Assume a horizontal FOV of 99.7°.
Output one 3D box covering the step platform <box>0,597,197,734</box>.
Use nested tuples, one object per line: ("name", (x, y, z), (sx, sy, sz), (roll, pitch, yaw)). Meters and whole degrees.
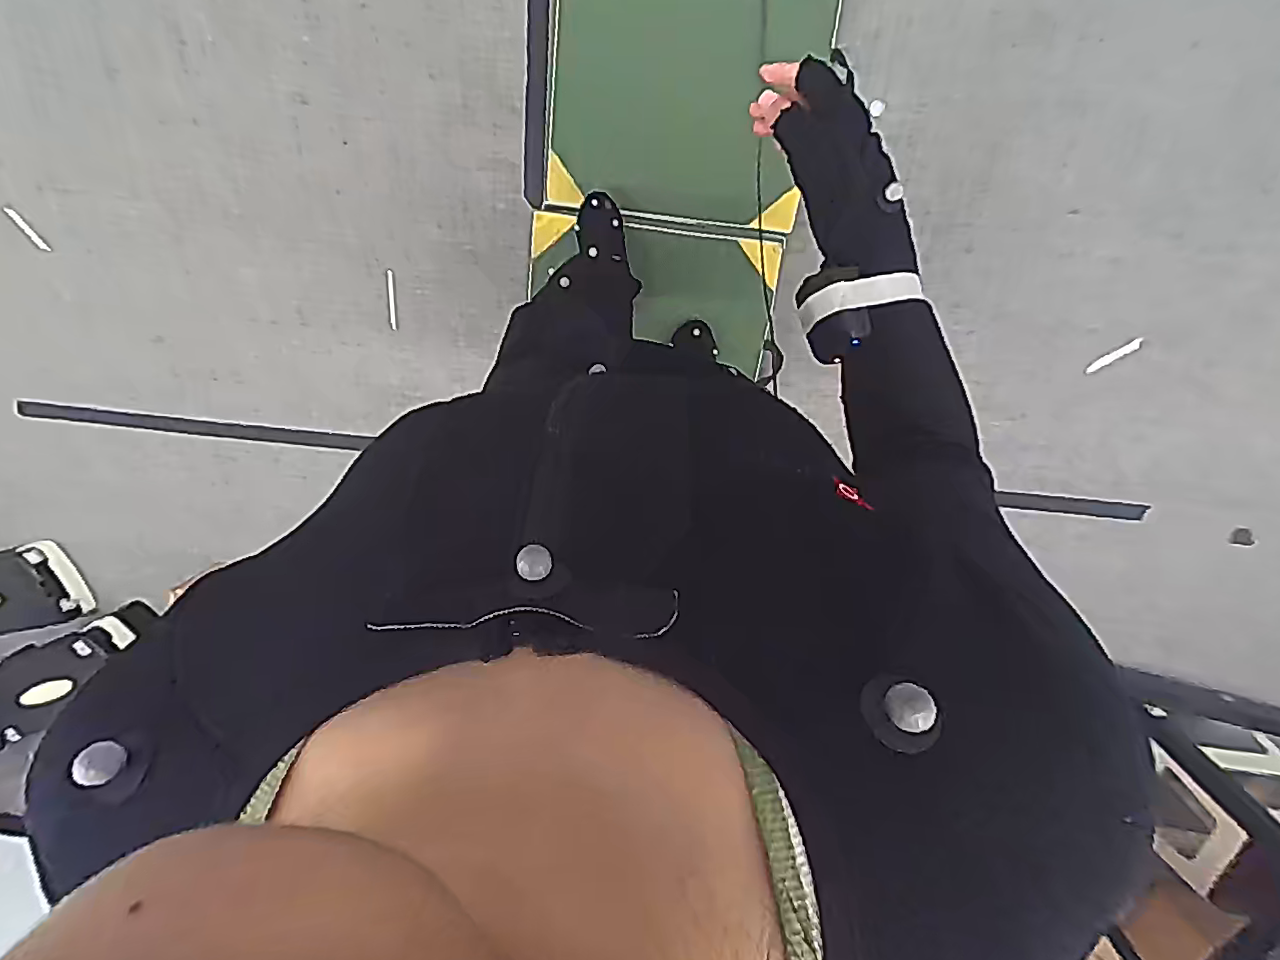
("step platform", (-1.975, 0.666, 1.927), (0.684, 0.204, 0.286), (-21, 108, 12))
